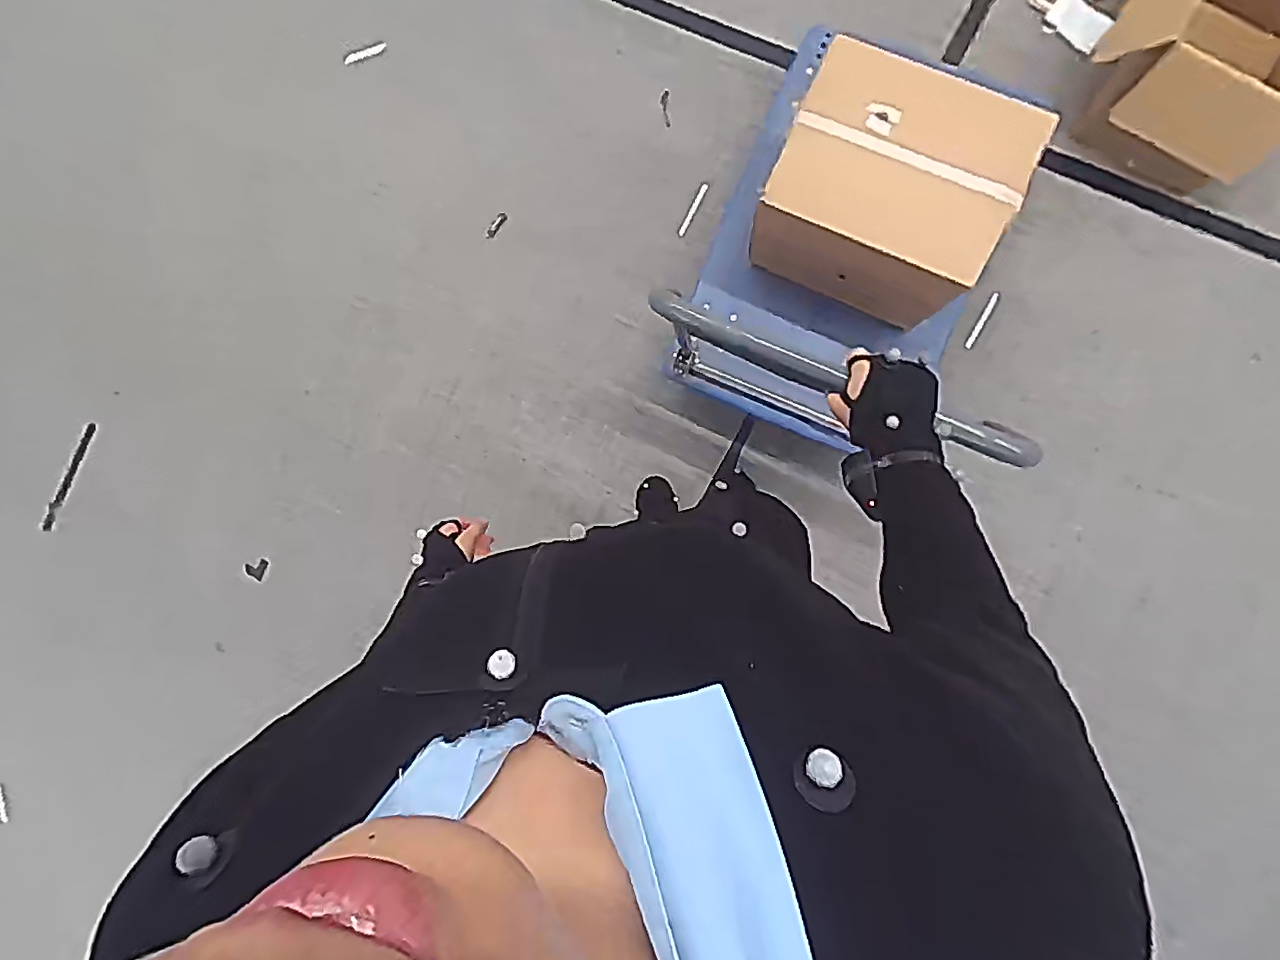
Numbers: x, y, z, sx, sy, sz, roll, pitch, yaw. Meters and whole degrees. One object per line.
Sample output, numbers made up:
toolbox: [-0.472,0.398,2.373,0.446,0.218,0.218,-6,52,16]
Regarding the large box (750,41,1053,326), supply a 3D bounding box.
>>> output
large box: [0.472,-0.554,1.079,0.408,0.320,0.320,26,94,7]
